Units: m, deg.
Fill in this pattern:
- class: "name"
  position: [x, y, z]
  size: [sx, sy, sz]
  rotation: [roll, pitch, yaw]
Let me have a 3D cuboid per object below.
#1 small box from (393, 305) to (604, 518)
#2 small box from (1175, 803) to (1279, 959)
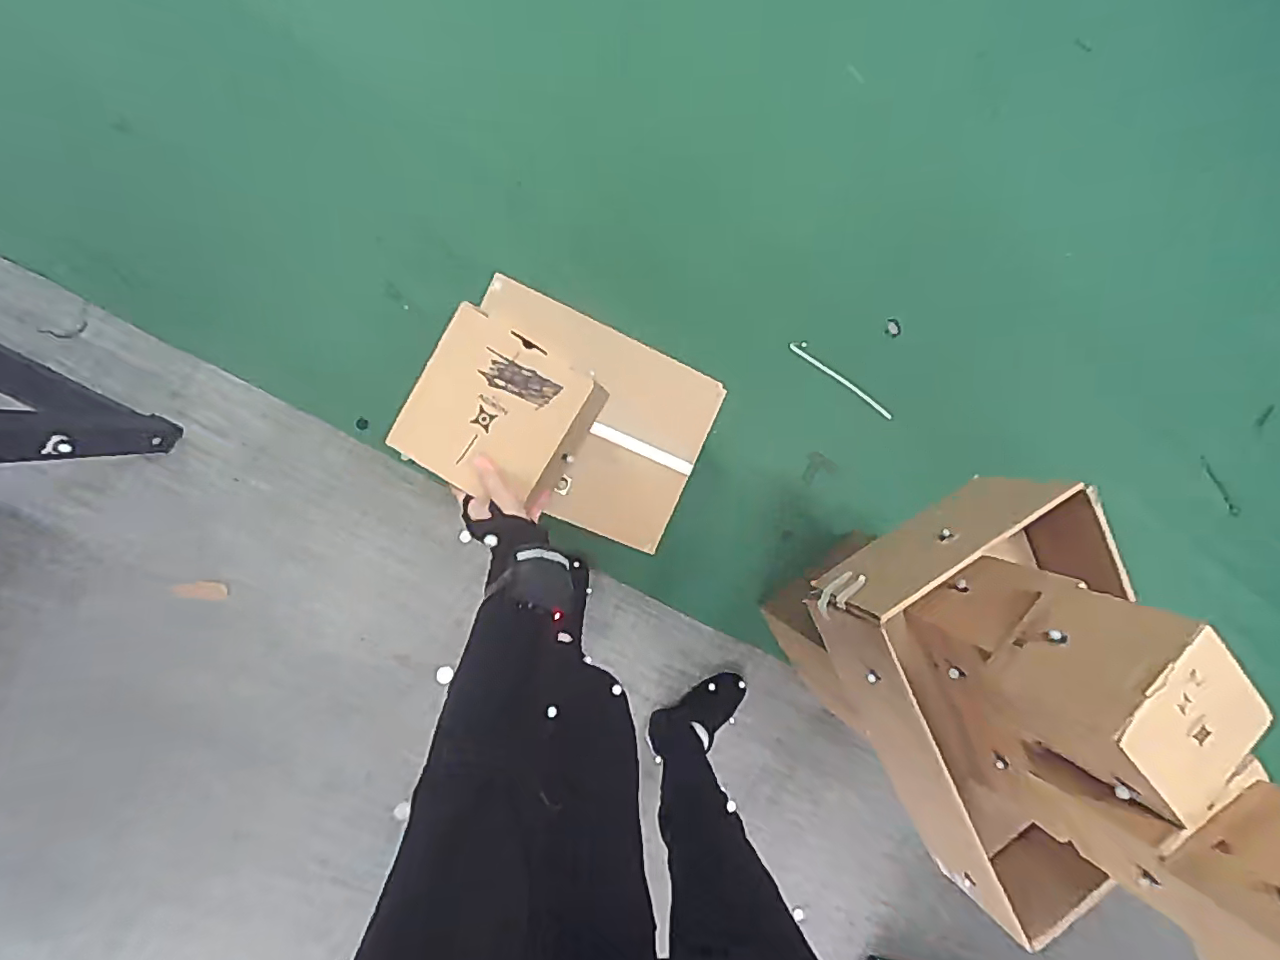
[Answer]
- class: "small box"
  position: [-0.155, -0.079, 0.661]
  size: [0.168, 0.176, 0.179]
  rotation: [31, 95, 1]
- class: "small box"
  position: [0.691, 0.457, 0.527]
  size: [0.168, 0.176, 0.179]
  rotation: [-29, 97, -8]
